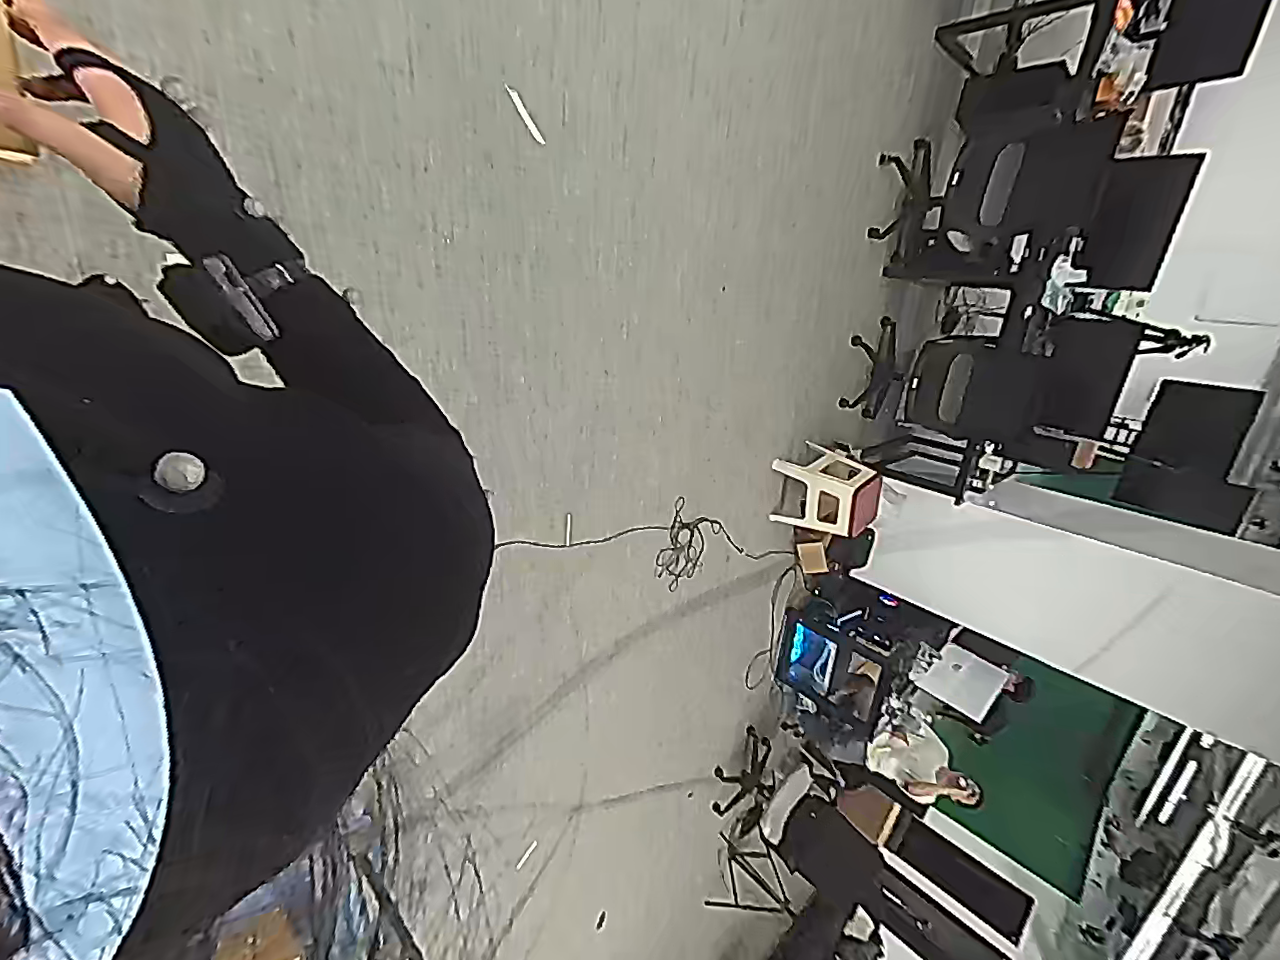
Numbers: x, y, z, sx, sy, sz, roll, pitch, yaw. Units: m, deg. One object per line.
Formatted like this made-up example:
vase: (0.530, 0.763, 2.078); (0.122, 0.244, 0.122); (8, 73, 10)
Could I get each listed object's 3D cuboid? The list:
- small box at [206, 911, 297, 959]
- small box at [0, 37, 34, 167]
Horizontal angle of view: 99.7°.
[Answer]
small box: (-0.993, 1.278, 1.390); (0.168, 0.176, 0.179); (-11, 114, -44)
small box: (-1.046, -0.584, 0.802); (0.168, 0.176, 0.179); (-16, 118, -42)
